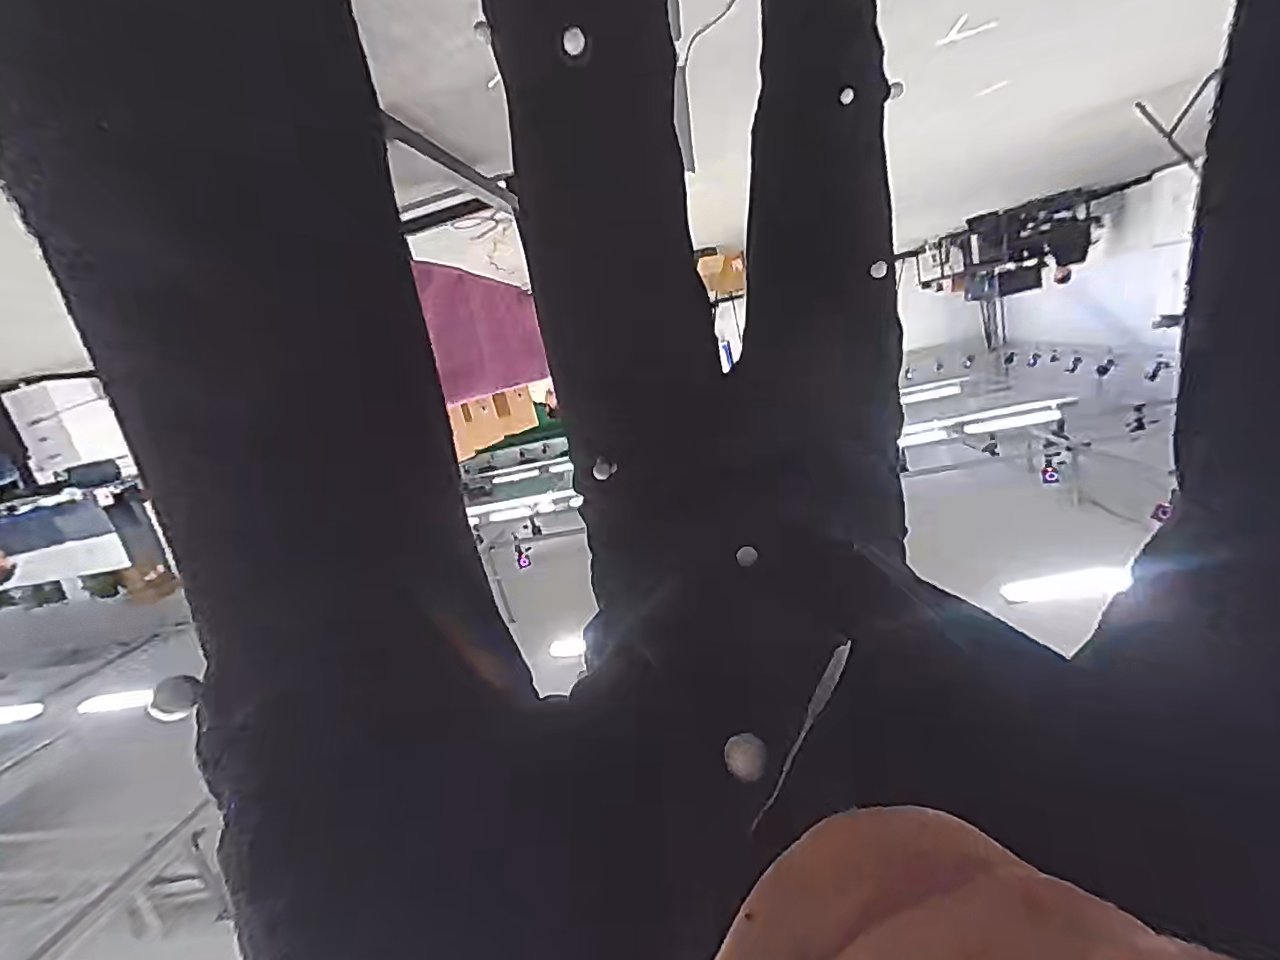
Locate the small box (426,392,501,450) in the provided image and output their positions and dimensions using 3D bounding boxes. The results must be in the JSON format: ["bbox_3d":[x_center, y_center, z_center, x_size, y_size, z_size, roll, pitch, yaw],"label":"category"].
[{"bbox_3d":[-0.585,-0.185,1.766,0.179,0.176,0.168,-11,-166,15],"label":"small box"}]
